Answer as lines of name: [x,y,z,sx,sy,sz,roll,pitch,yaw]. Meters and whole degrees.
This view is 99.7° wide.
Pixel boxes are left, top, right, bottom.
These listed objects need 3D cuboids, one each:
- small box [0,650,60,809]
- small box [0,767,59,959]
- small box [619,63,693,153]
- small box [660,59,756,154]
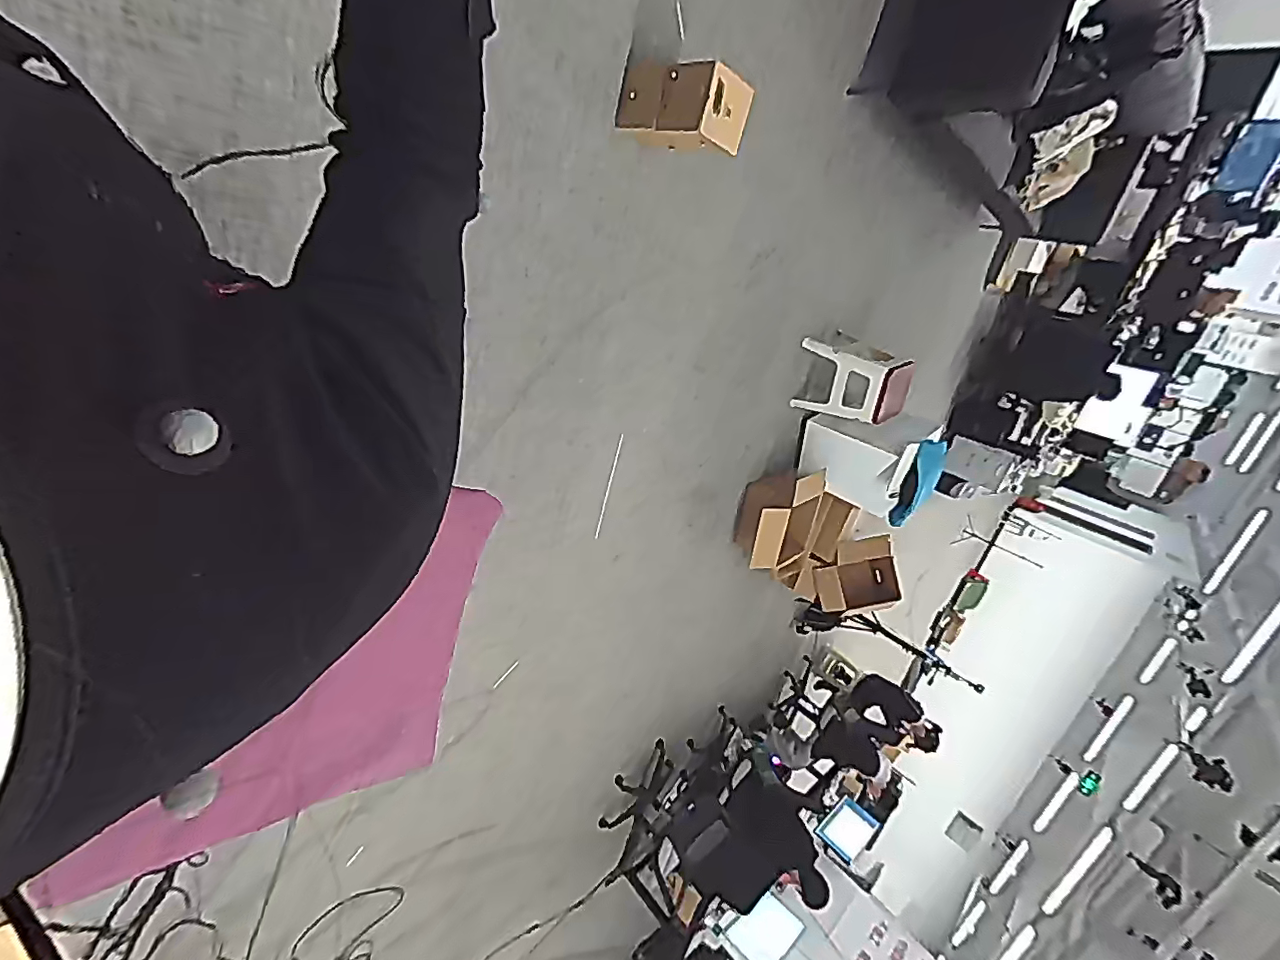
small box: [-0.689,0.297,0.524,0.168,0.176,0.179,3,112,-49]
small box: [-0.585,0.366,0.420,0.179,0.176,0.168,1,114,-48]
small box: [0.069,-1.087,1.586,0.179,0.176,0.168,-4,116,-46]
small box: [0.183,-1.020,1.490,0.179,0.176,0.168,-6,118,-46]
